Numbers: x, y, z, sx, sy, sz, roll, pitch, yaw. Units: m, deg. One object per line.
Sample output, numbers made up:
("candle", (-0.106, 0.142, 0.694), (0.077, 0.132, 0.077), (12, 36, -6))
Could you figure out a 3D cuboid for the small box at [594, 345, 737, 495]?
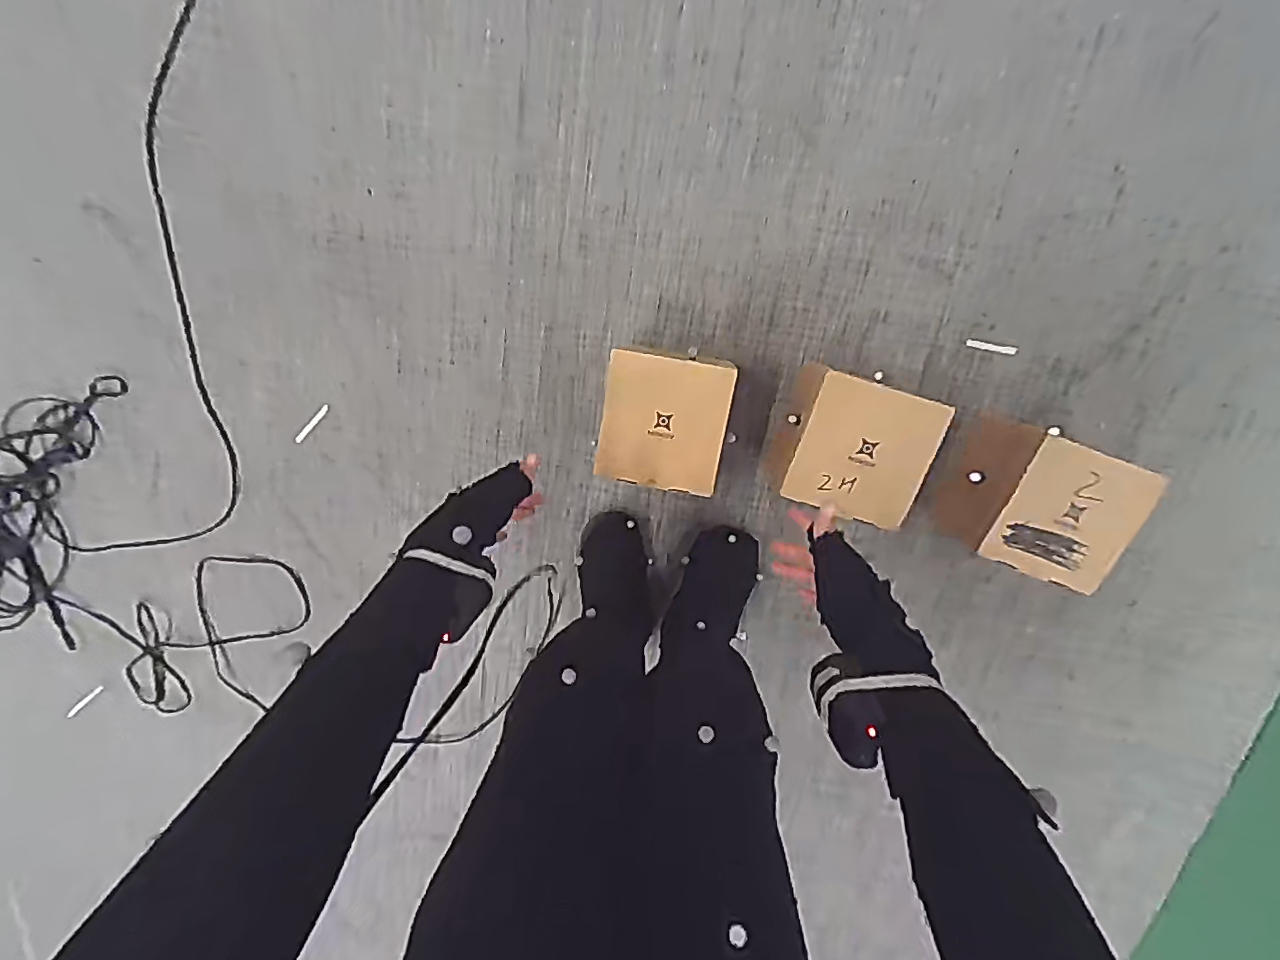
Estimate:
("small box", (0.038, -0.097, 0.786), (0.168, 0.176, 0.179), (10, 107, 4))
